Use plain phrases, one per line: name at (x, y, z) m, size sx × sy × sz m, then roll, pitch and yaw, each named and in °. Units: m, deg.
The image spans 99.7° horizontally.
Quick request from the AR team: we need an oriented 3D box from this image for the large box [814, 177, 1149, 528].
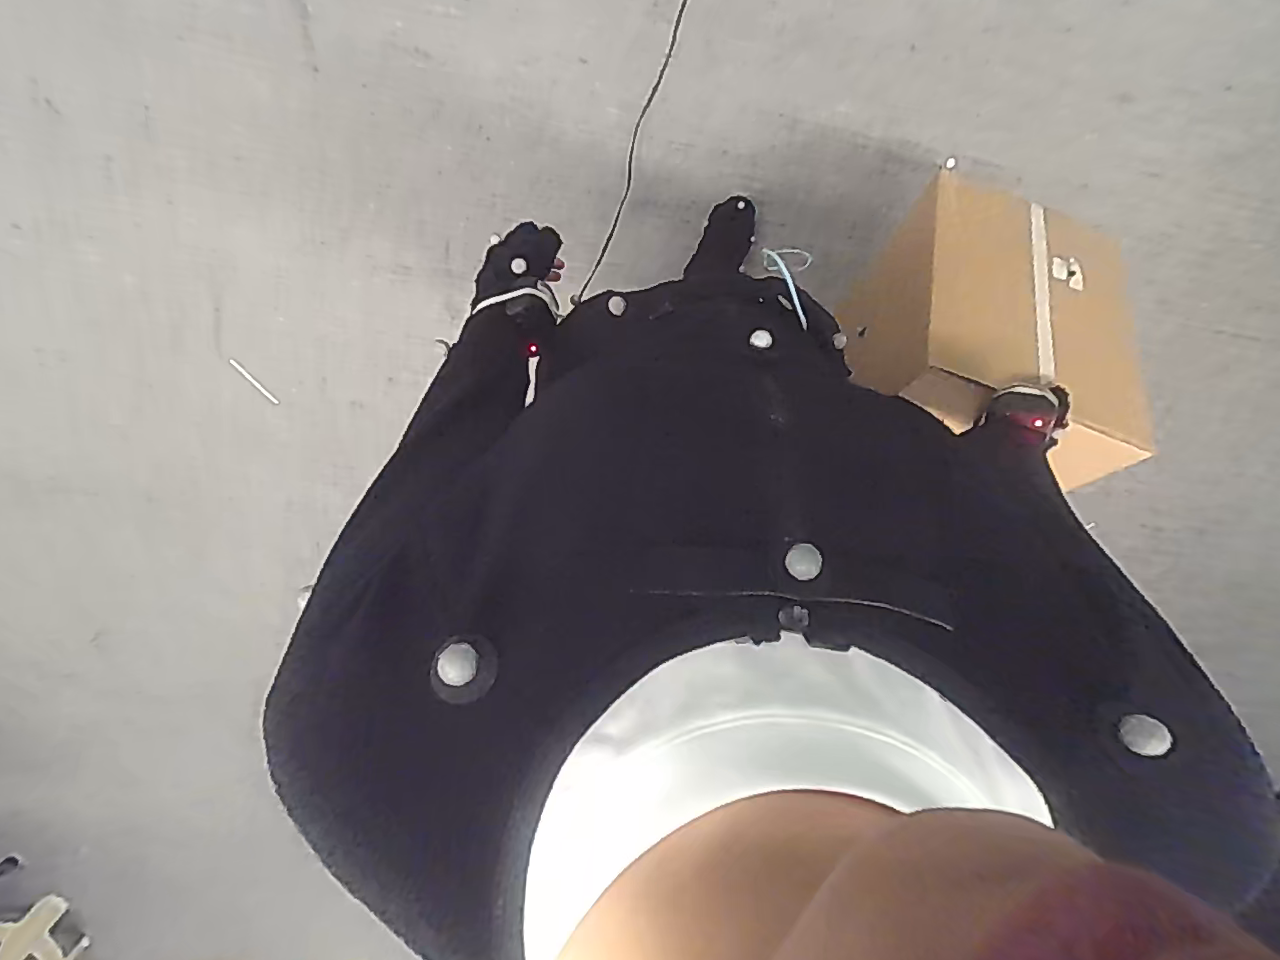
large box at (0.512, -0.187, 0.882) m, size 0.320 × 0.408 × 0.320 m, roll 20°, pitch 153°, yaw -4°
